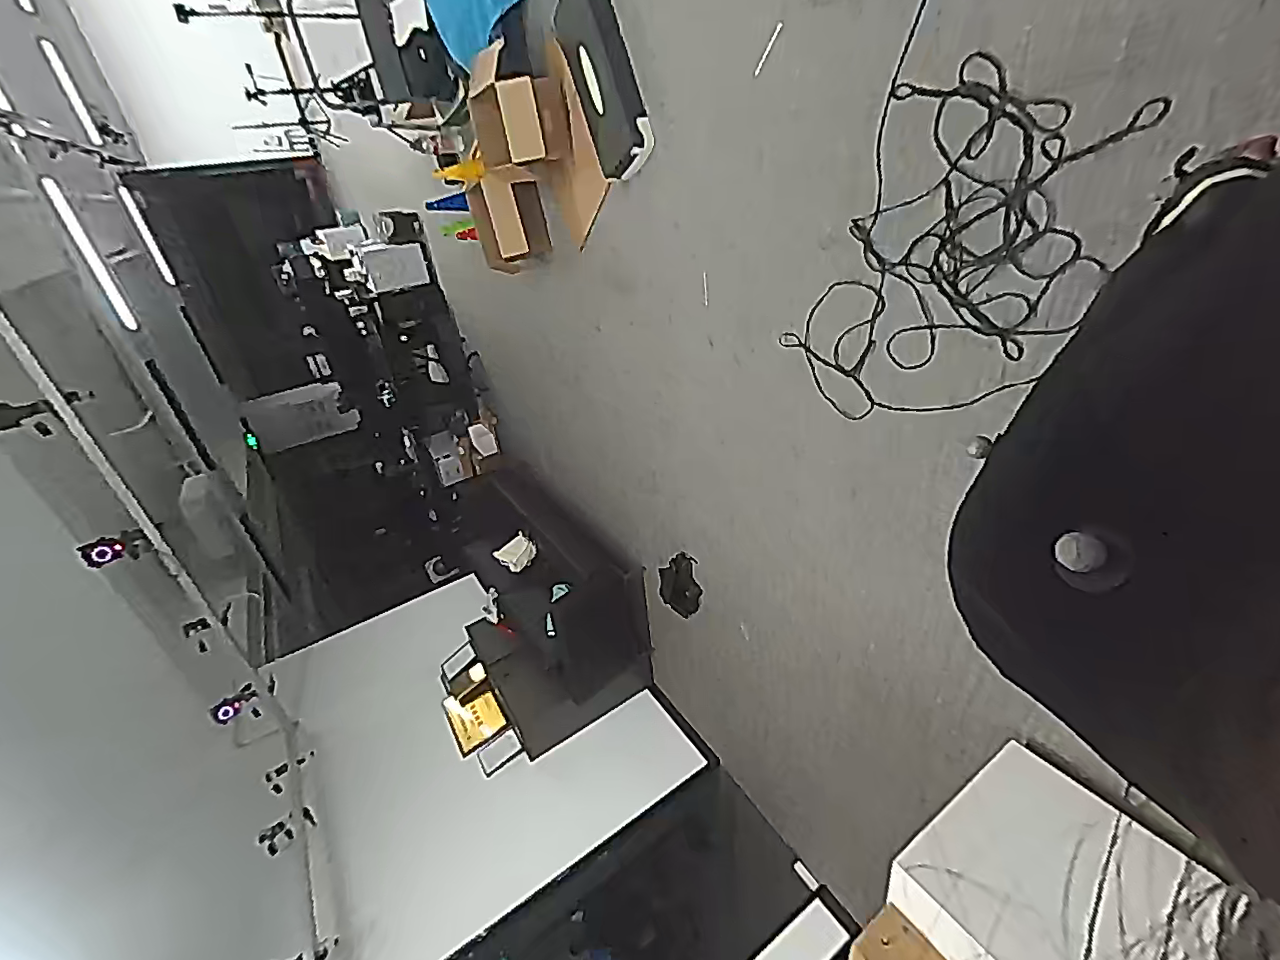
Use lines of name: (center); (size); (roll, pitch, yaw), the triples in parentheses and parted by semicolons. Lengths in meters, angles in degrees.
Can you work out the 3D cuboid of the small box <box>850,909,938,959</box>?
small box: (0.659, 1.263, 1.386); (0.168, 0.176, 0.179); (33, 139, 51)
